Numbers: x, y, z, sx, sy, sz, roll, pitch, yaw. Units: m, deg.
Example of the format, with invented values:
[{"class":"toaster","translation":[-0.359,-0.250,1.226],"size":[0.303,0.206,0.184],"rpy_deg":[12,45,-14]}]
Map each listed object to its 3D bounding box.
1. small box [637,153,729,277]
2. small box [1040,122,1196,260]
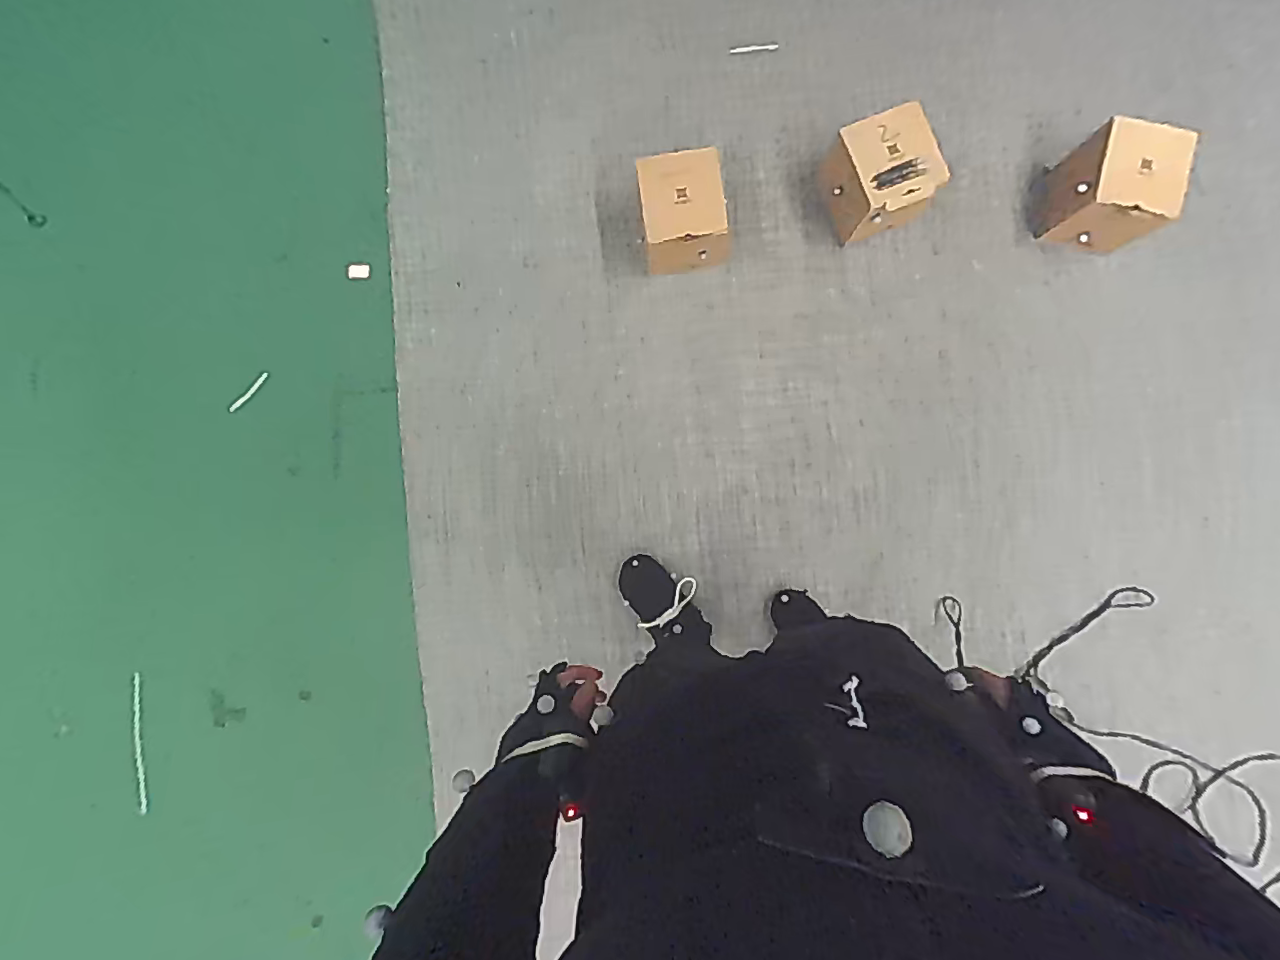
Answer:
[{"class":"small box","translation":[0.087,-0.549,1.148],"size":[0.168,0.176,0.179],"rpy_deg":[-9,87,0]},{"class":"small box","translation":[0.983,-0.594,1.128],"size":[0.168,0.176,0.179],"rpy_deg":[14,89,2]}]
